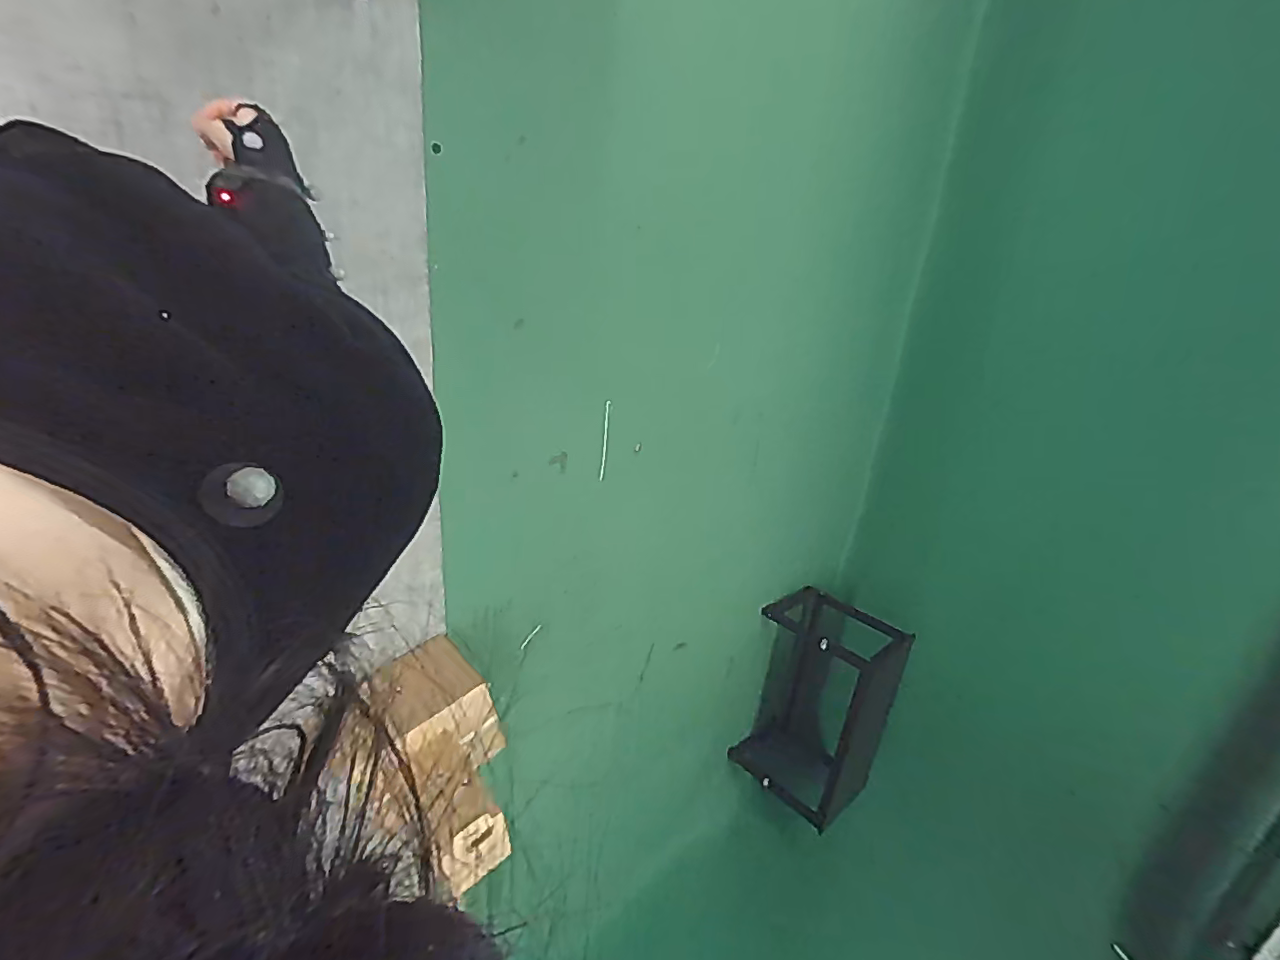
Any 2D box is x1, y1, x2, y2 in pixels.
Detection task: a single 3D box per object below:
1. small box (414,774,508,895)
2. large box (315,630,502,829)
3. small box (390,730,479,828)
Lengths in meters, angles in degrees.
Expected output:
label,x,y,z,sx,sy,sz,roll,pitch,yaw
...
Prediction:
label,x,y,z,sx,sy,sz,roll,pitch,yaw
small box,-0.466,0.903,1.402,0.168,0.176,0.179,-22,122,-37
large box,-0.714,0.757,1.695,0.408,0.320,0.320,-29,128,-35
small box,-0.569,0.846,1.516,0.179,0.176,0.168,-24,123,-36
